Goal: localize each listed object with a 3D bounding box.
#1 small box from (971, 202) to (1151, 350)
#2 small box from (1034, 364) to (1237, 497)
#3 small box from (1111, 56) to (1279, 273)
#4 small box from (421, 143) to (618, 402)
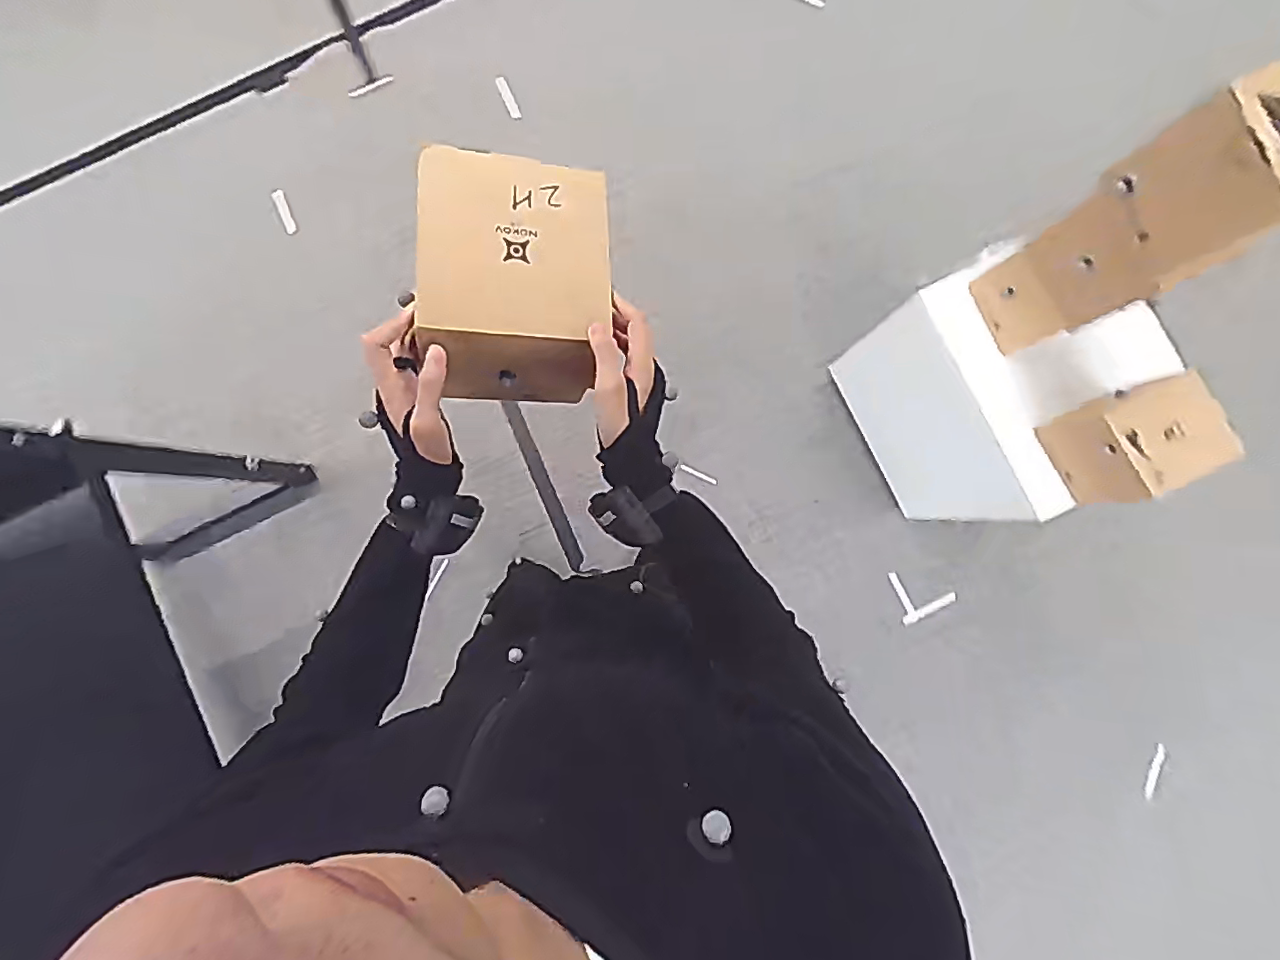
[{"bbox_3d":[0.753,-0.362,0.995,0.179,0.176,0.168,-25,87,-1],"label":"small box"},{"bbox_3d":[0.875,-0.080,0.974,0.179,0.176,0.168,-28,85,-2],"label":"small box"},{"bbox_3d":[0.742,-0.387,0.667,0.179,0.176,0.168,-22,86,-2],"label":"small box"},{"bbox_3d":[-0.121,-0.188,0.546,0.168,0.176,0.179,1,78,-17],"label":"small box"}]
